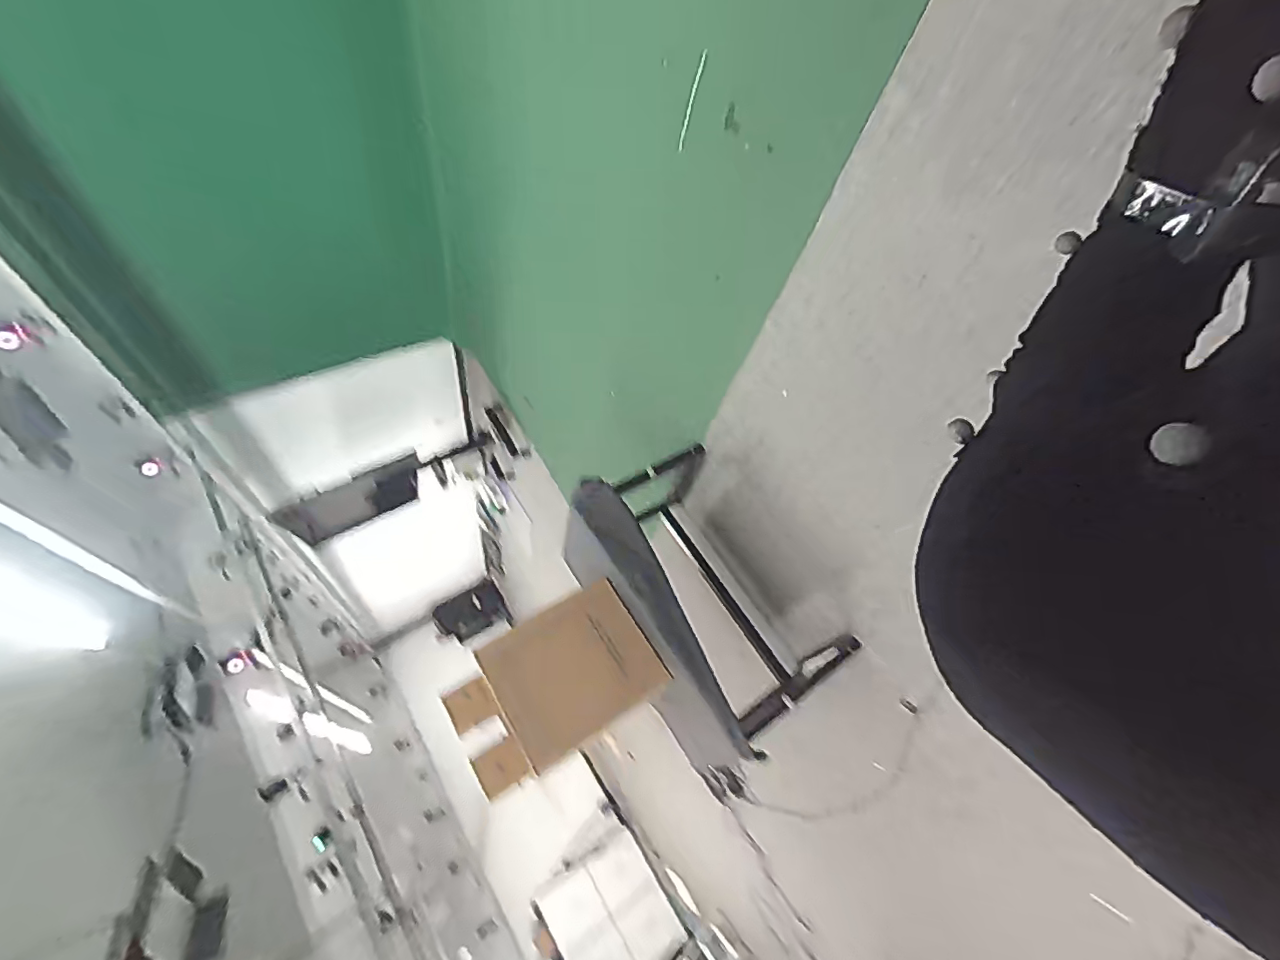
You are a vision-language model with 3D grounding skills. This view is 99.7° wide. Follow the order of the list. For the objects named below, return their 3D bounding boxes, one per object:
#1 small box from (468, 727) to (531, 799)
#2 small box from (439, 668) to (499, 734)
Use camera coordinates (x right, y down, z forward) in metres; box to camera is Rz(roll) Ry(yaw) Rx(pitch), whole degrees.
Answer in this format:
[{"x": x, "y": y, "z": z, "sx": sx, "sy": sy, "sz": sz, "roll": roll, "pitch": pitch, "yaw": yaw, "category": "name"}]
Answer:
[{"x": -0.519, "y": 1.042, "z": 2.002, "sx": 0.179, "sy": 0.176, "sz": 0.168, "roll": 53, "pitch": 150, "yaw": 23, "category": "small box"}, {"x": -0.660, "y": 0.857, "z": 2.098, "sx": 0.168, "sy": 0.176, "sz": 0.179, "roll": 56, "pitch": 153, "yaw": 20, "category": "small box"}]
